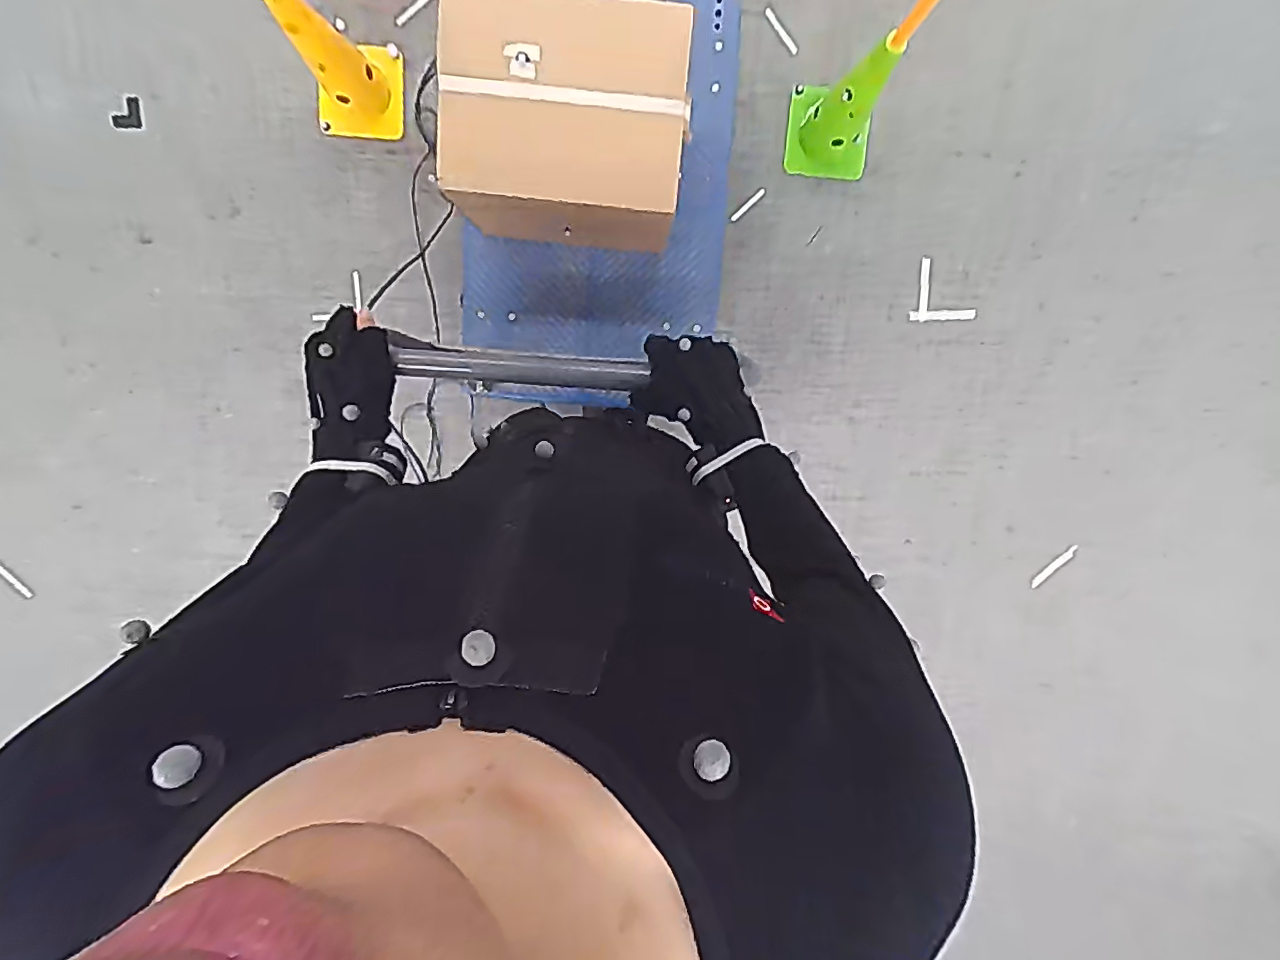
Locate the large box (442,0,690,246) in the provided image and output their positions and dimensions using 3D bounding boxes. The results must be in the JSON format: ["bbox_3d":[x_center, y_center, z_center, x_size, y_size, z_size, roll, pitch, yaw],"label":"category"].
[{"bbox_3d":[-0.125,-0.652,1.034,0.408,0.320,0.320,5,100,-1],"label":"large box"}]

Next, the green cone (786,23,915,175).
[{"bbox_3d":[0.470,-0.834,1.157,0.202,0.368,0.200,4,100,-3],"label":"green cone"}]
